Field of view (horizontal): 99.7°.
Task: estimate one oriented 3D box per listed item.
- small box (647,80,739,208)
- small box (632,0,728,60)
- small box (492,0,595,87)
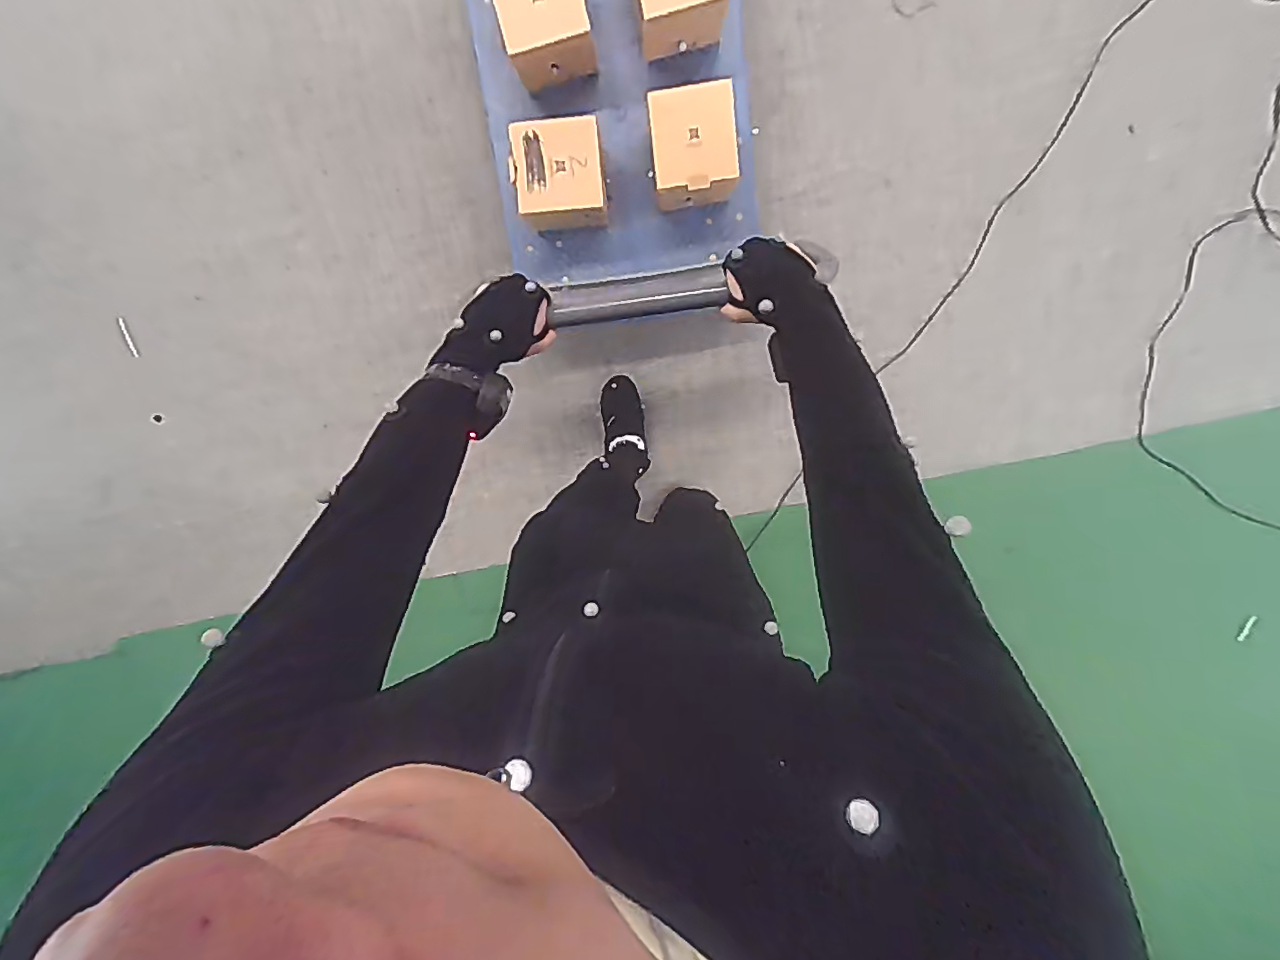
[{"bbox_3d":[0.105,-0.692,1.133,0.168,0.176,0.179,-8,105,3],"label":"small box"},{"bbox_3d":[0.067,-0.976,1.057,0.168,0.176,0.179,-12,105,5],"label":"small box"},{"bbox_3d":[-0.193,-0.923,1.076,0.168,0.176,0.179,-14,104,4],"label":"small box"}]
